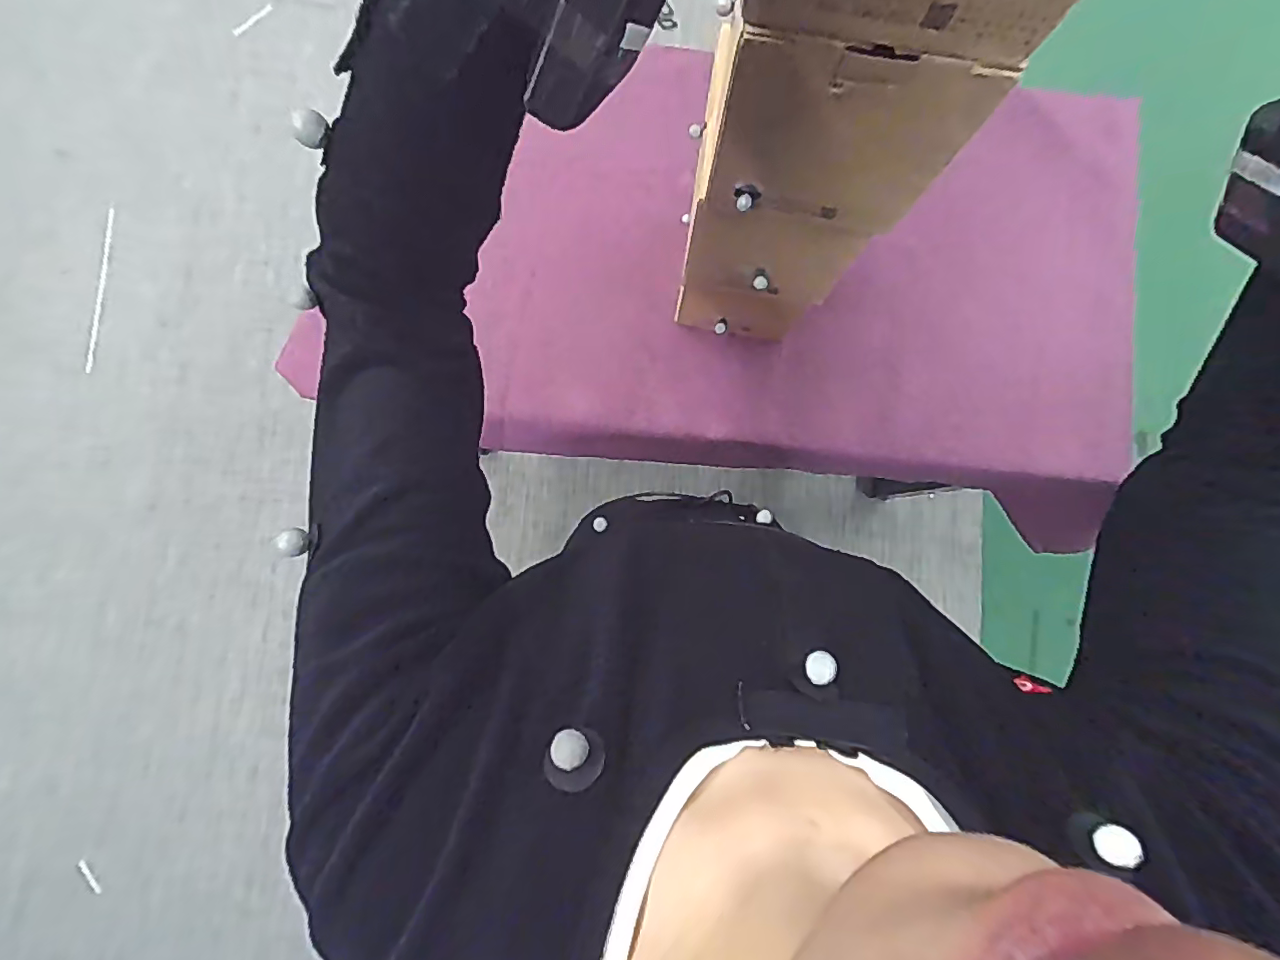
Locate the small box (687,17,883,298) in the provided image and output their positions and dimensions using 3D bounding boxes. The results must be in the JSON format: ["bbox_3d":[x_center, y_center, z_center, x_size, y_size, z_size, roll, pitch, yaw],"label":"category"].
[{"bbox_3d":[0.145,-0.316,0.561,0.168,0.176,0.179,8,84,1],"label":"small box"}]

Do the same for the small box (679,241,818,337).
[{"bbox_3d":[0.149,-0.314,0.725,0.168,0.176,0.179,10,85,1],"label":"small box"}]

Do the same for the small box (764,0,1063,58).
[{"bbox_3d":[0.152,-0.344,0.235,0.168,0.176,0.179,10,83,1],"label":"small box"}]

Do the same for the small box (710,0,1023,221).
[{"bbox_3d":[0.150,-0.323,0.397,0.168,0.176,0.179,9,83,0],"label":"small box"}]
